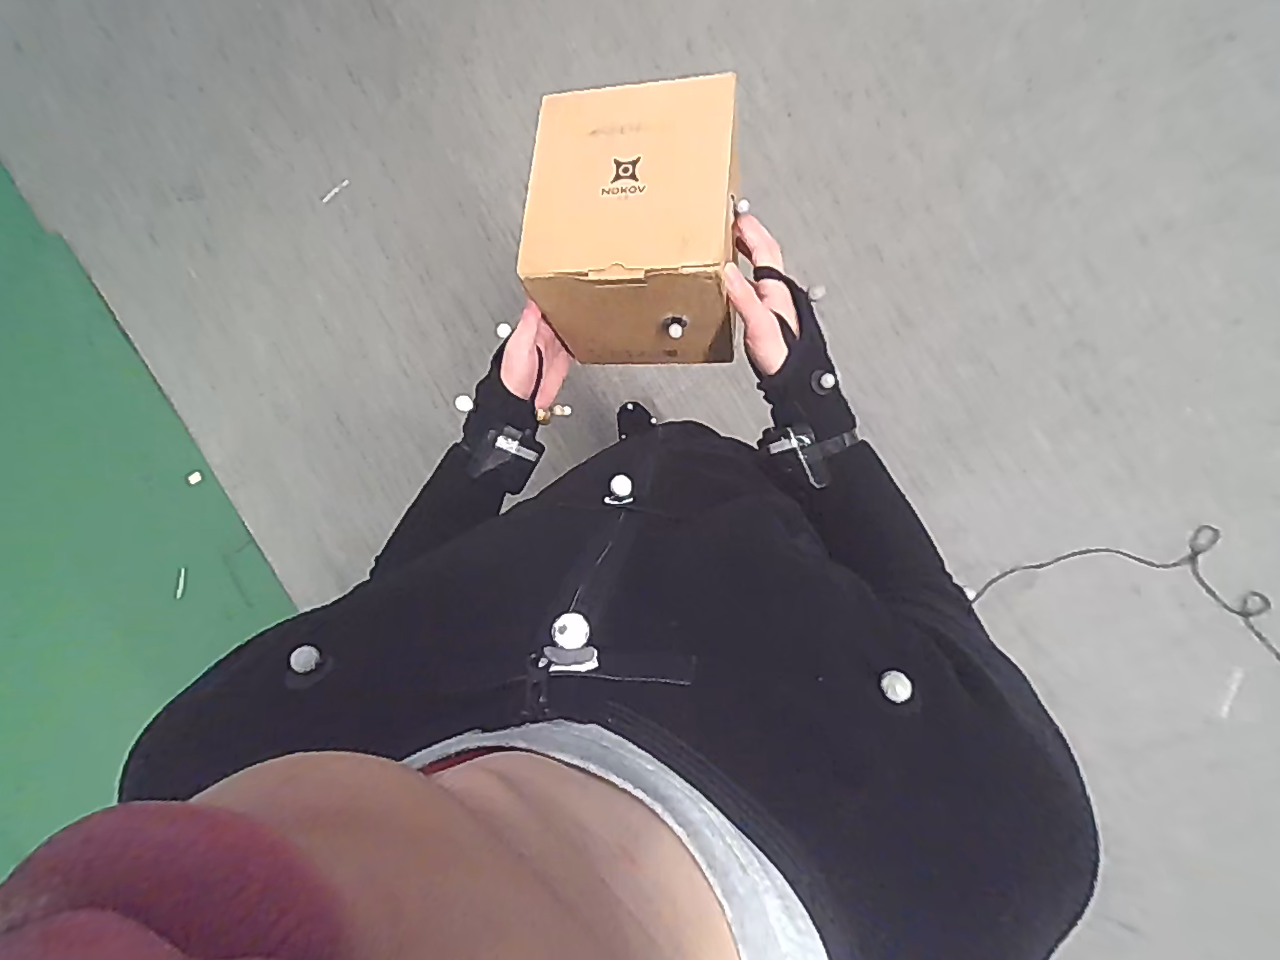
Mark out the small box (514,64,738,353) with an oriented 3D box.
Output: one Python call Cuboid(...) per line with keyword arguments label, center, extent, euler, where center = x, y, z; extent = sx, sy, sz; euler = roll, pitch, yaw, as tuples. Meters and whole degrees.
Cuboid(label="small box", center=(0.002, -0.229, 0.501), extent=(0.168, 0.176, 0.179), euler=(2, 78, 12))
